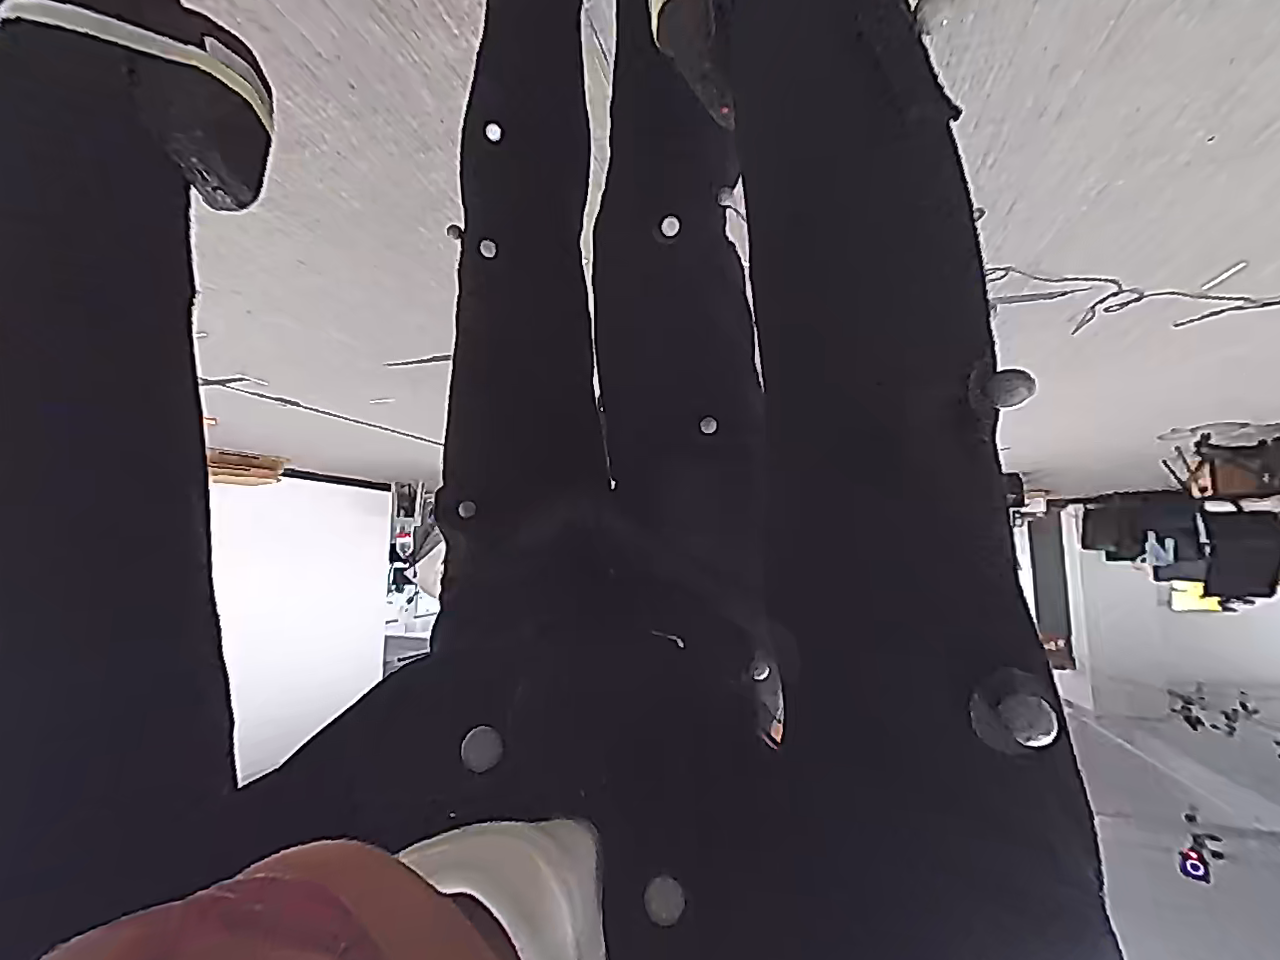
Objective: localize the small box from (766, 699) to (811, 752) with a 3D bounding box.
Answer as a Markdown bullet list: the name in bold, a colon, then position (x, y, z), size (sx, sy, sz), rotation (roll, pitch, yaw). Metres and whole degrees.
- **small box**: position (0.645, 1.065, 2.360), size (0.179, 0.176, 0.168), rotation (-3, 174, 12)
